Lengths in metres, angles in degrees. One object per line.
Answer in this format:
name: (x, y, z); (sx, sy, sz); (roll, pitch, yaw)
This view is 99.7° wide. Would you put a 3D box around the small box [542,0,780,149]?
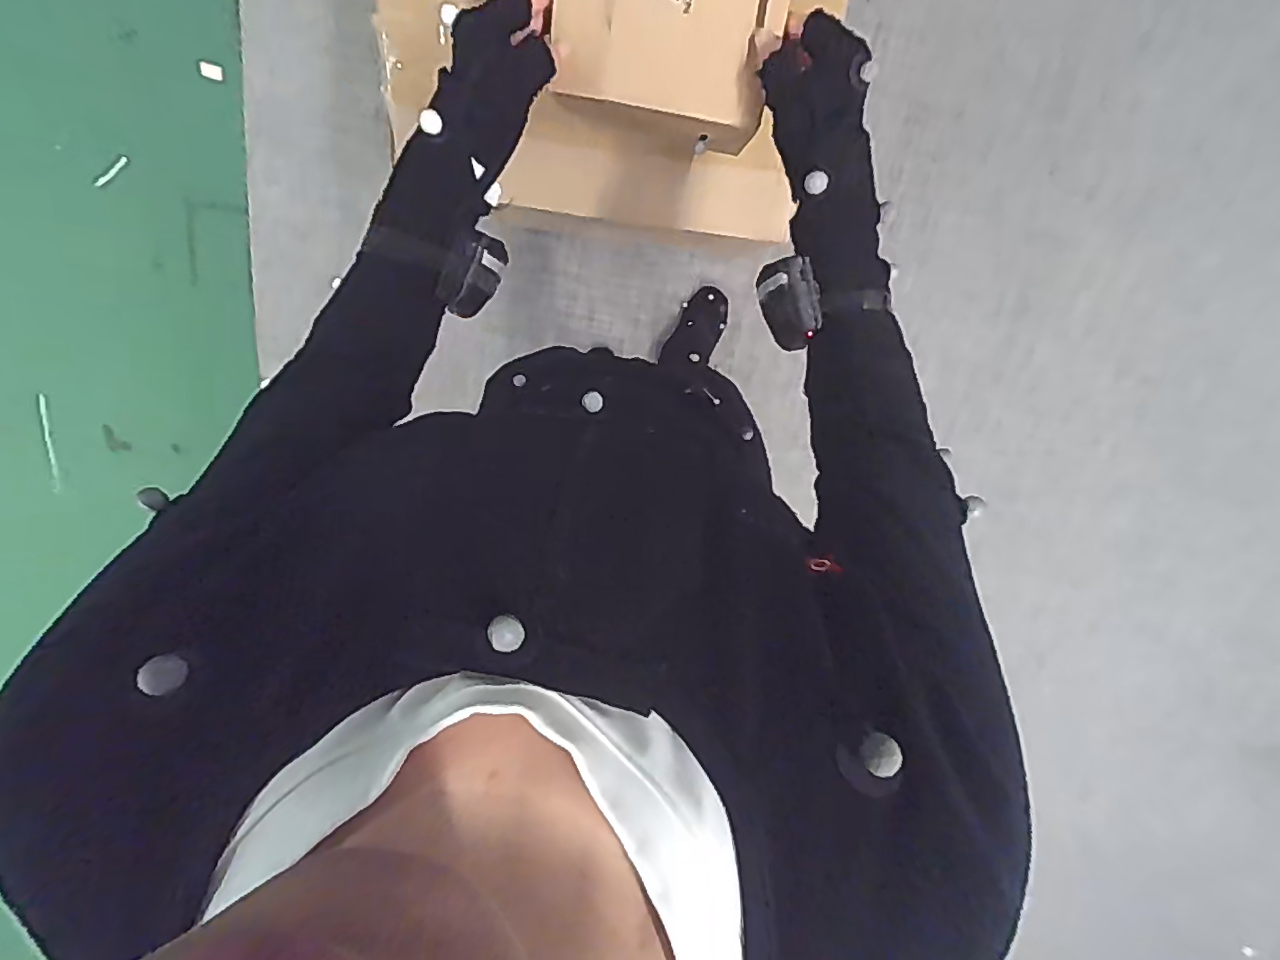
small box: (0.025, -0.403, 0.471); (0.179, 0.176, 0.168); (10, 114, 1)
